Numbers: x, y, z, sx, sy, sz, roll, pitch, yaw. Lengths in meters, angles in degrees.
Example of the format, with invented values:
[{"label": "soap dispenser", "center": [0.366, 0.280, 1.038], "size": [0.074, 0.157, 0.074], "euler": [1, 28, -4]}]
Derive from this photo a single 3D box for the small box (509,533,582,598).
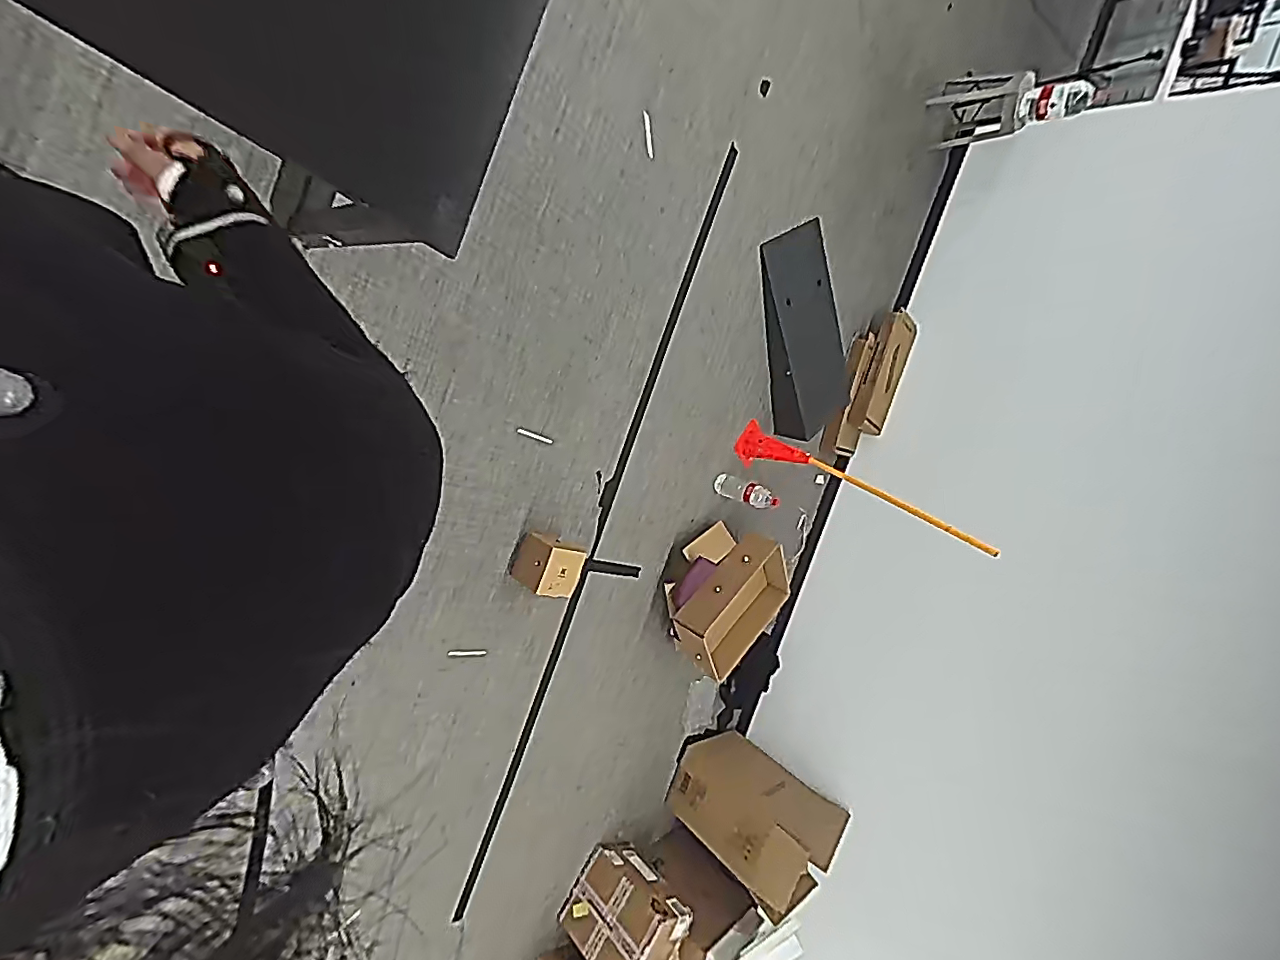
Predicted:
[{"label": "small box", "center": [-0.341, 0.303, 1.930], "size": [0.168, 0.176, 0.179], "euler": [19, 92, -48]}]
